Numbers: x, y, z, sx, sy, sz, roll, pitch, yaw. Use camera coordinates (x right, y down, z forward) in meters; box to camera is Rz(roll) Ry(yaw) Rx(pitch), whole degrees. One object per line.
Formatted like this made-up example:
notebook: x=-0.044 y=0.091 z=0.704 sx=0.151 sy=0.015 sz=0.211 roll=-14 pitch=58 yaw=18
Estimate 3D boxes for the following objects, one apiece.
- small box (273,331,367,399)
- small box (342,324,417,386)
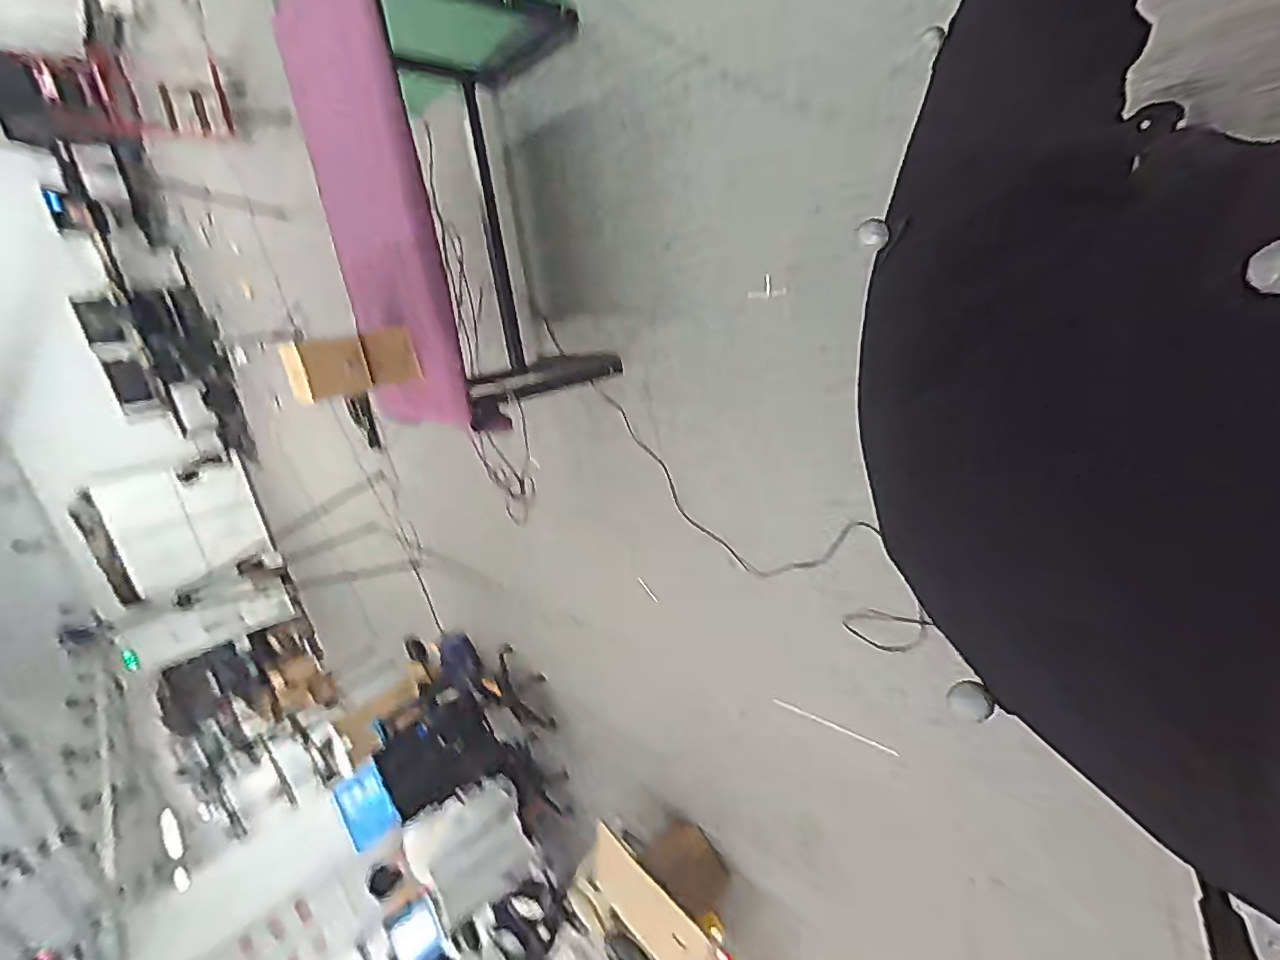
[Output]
small box: x=-0.918 y=-0.331 z=1.557 sx=0.179 sy=0.176 sz=0.168 roll=9 pitch=115 yaw=42
small box: x=-0.824 y=-0.387 z=1.682 sx=0.179 sy=0.176 sz=0.168 roll=6 pitch=112 yaw=43
